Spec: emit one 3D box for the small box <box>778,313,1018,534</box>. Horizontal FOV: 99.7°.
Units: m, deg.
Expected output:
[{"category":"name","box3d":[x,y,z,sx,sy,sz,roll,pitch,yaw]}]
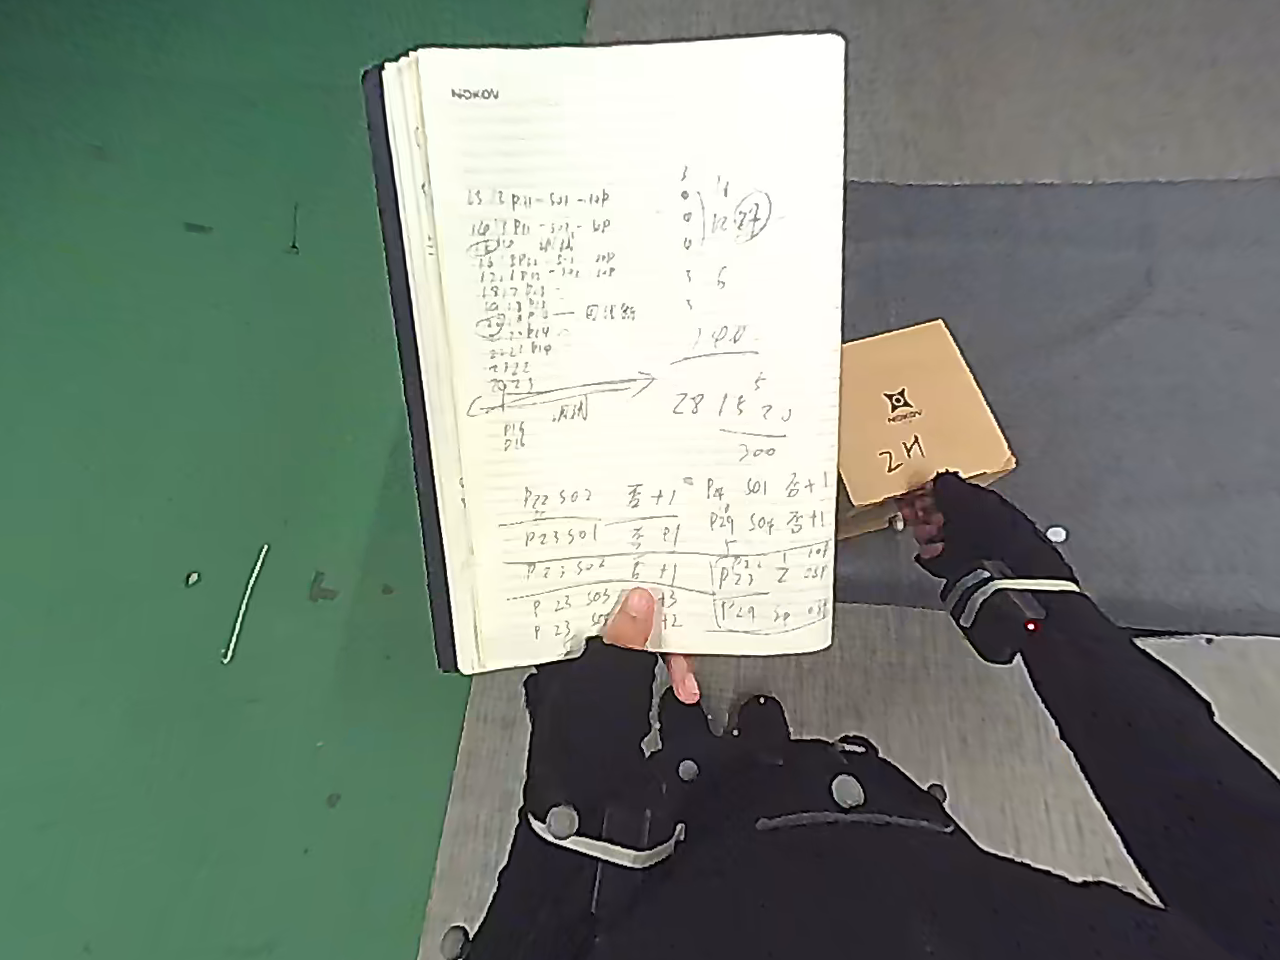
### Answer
[{"category":"small box","box3d":[0.271,-0.055,0.620,0.168,0.176,0.179,-14,71,0]}]
